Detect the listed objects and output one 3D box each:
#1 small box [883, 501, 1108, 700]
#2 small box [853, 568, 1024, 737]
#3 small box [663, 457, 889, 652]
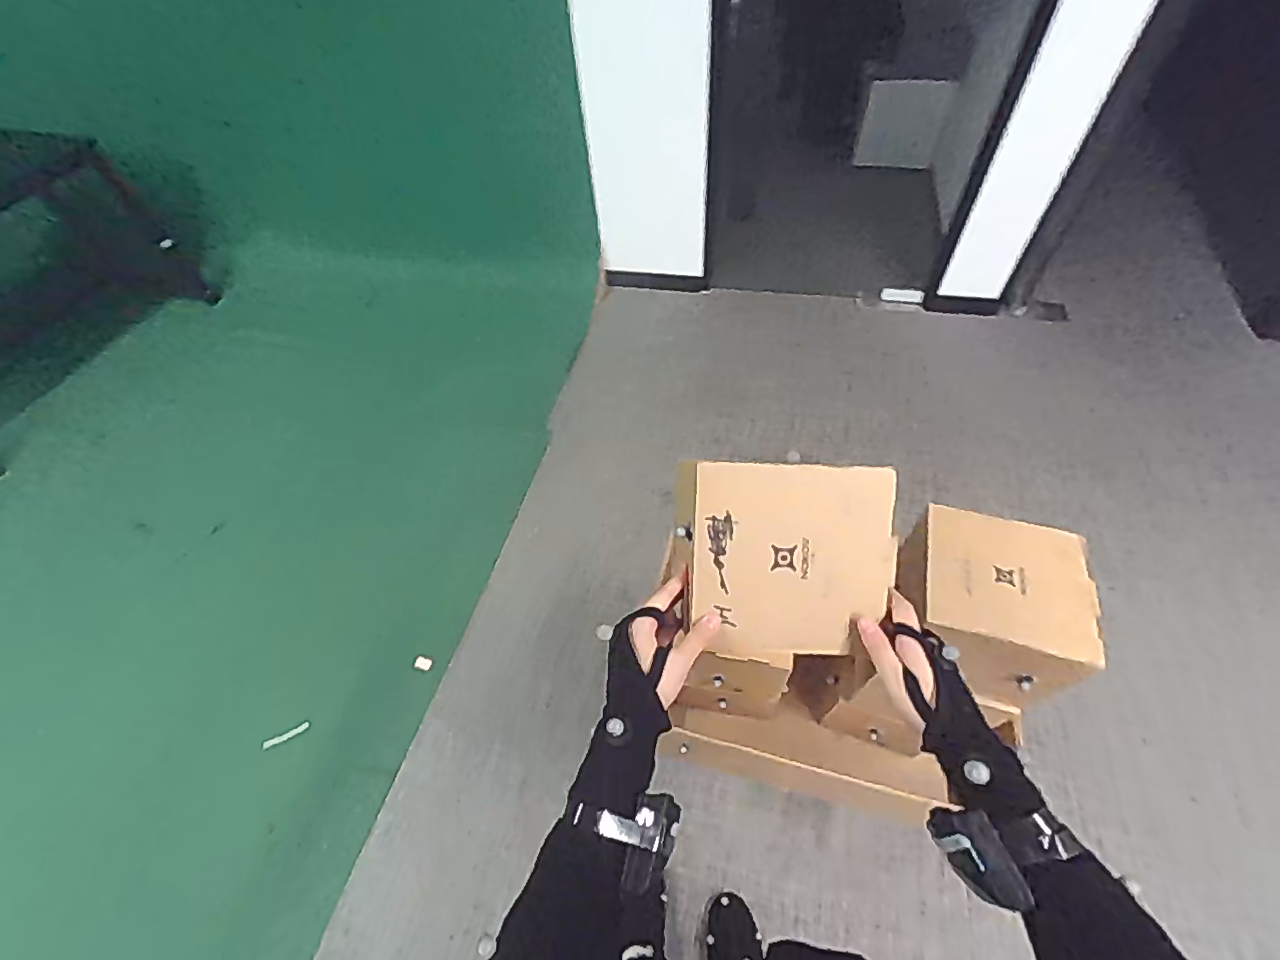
[{"bbox_3d":[0.422,0.154,0.671,0.179,0.176,0.168,13,55,15],"label":"small box"},{"bbox_3d":[0.427,0.258,0.797,0.179,0.176,0.168,14,56,14],"label":"small box"},{"bbox_3d":[0.121,0.063,0.545,0.179,0.176,0.168,2,91,-3],"label":"small box"}]
